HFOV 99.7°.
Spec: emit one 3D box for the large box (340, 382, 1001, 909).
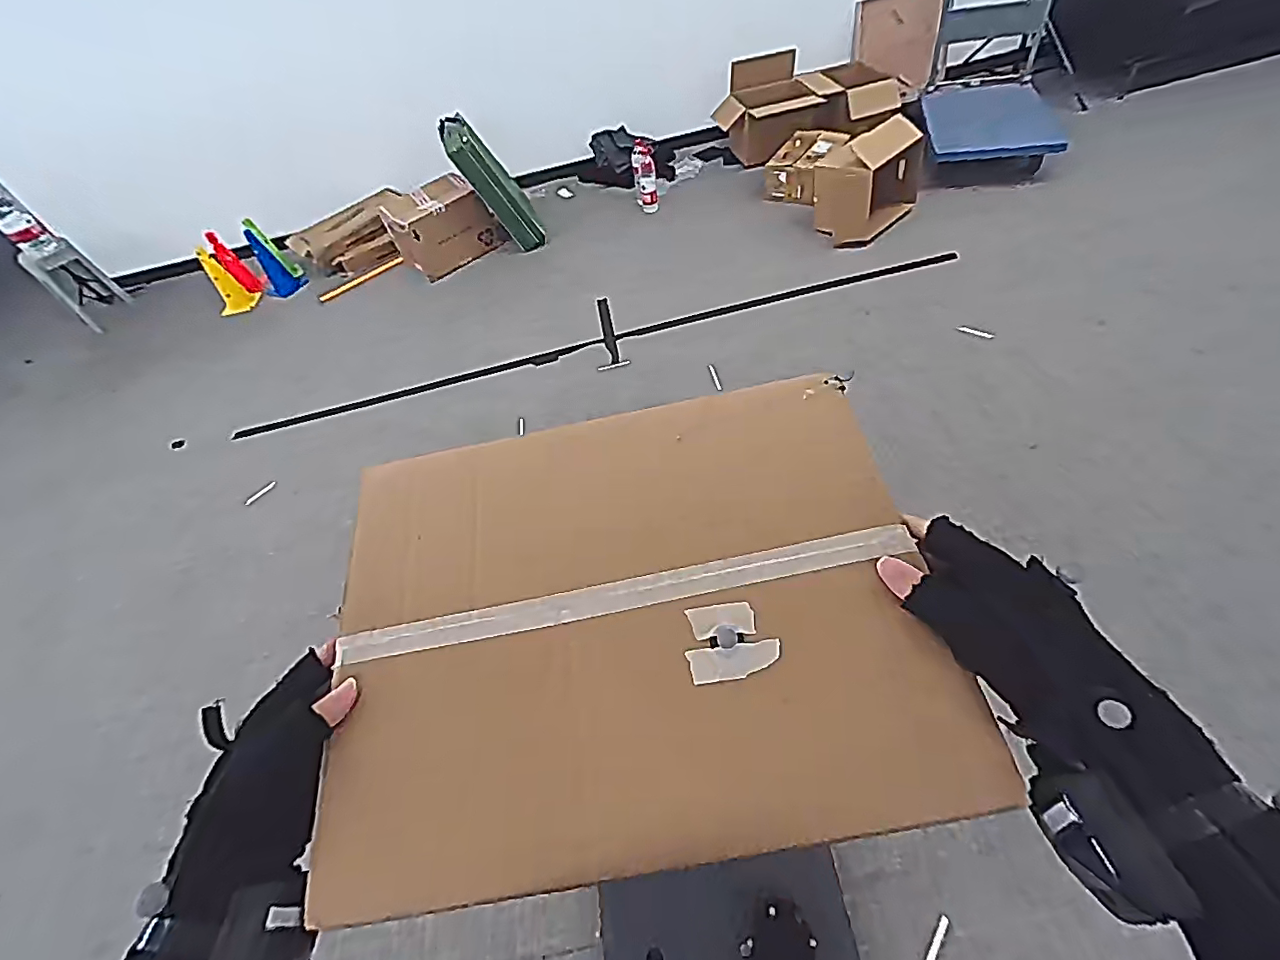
[{"bbox_3d":[0.009,0.159,0.516,0.408,0.320,0.320,-11,59,1],"label":"large box"}]
